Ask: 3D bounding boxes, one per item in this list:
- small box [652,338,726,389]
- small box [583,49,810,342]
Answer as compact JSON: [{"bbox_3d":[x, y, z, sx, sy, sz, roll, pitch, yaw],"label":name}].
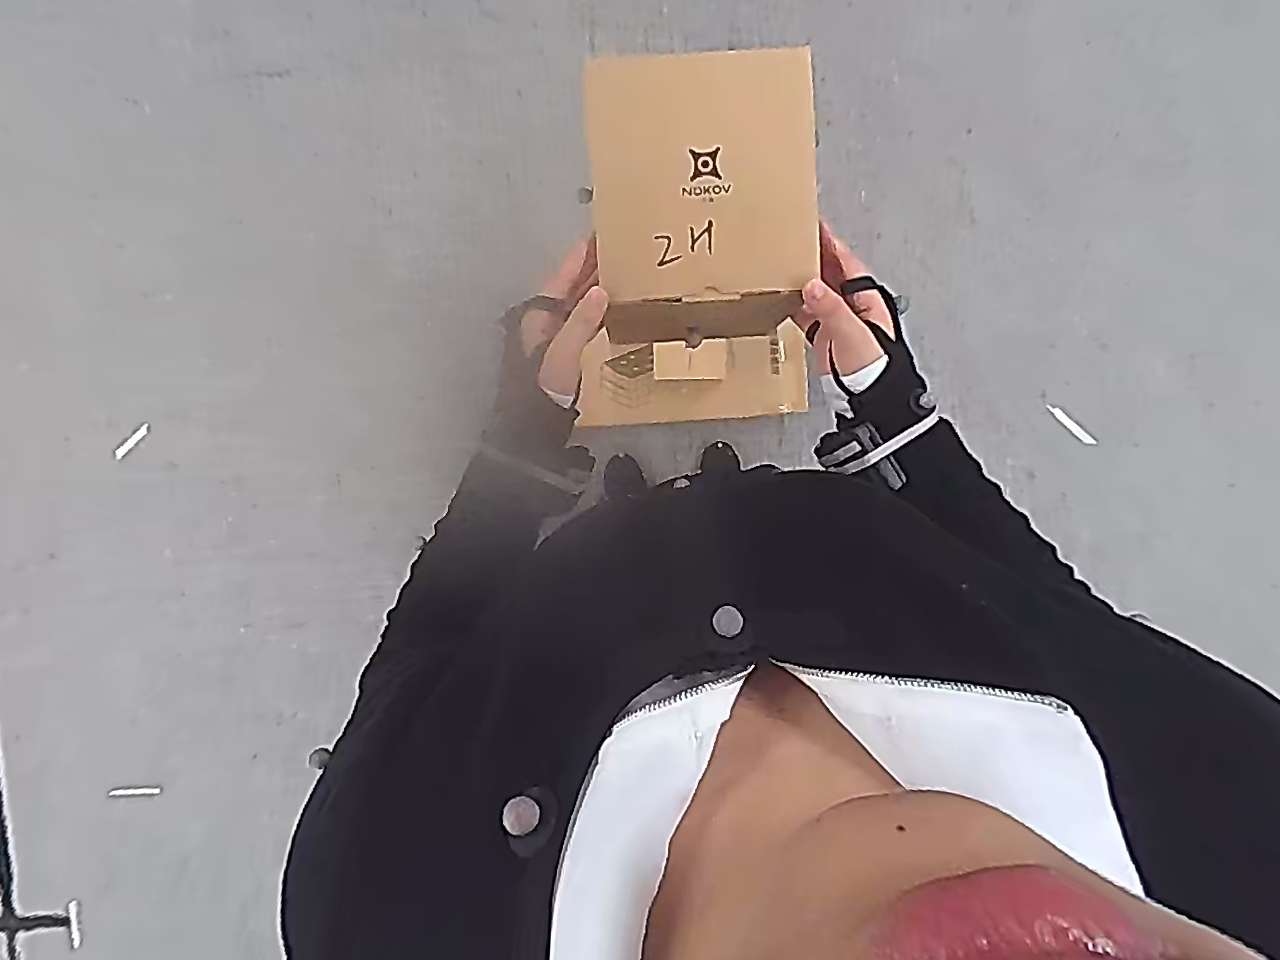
[{"bbox_3d":[0.113,-0.320,1.302,0.168,0.176,0.179,0,93,1],"label":"small box"},{"bbox_3d":[0.041,-0.230,0.478,0.168,0.176,0.179,-3,93,0],"label":"small box"}]
